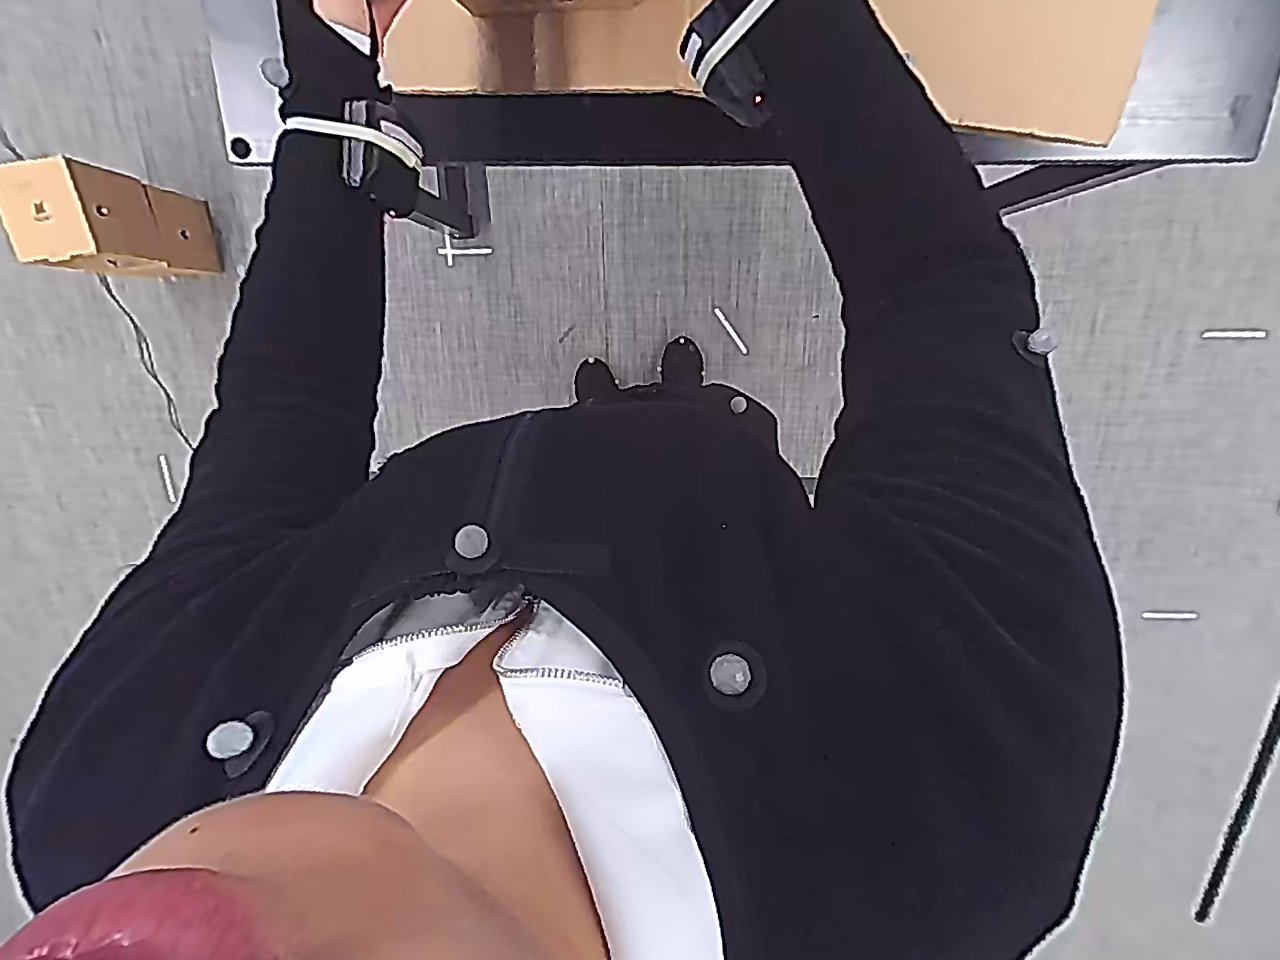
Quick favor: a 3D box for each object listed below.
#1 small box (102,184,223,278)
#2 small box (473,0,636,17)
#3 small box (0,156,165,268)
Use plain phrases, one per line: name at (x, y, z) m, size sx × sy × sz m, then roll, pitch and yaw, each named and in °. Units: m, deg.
small box at (-1.148, -0.583, 1.283) m, size 0.168 × 0.176 × 0.179 m, roll -3°, pitch 106°, yaw 2°
small box at (-0.089, -0.474, 0.376) m, size 0.168 × 0.176 × 0.179 m, roll 10°, pitch 106°, yaw 15°
small box at (-1.153, -0.545, 1.126) m, size 0.168 × 0.176 × 0.179 m, roll -6°, pitch 104°, yaw 2°
